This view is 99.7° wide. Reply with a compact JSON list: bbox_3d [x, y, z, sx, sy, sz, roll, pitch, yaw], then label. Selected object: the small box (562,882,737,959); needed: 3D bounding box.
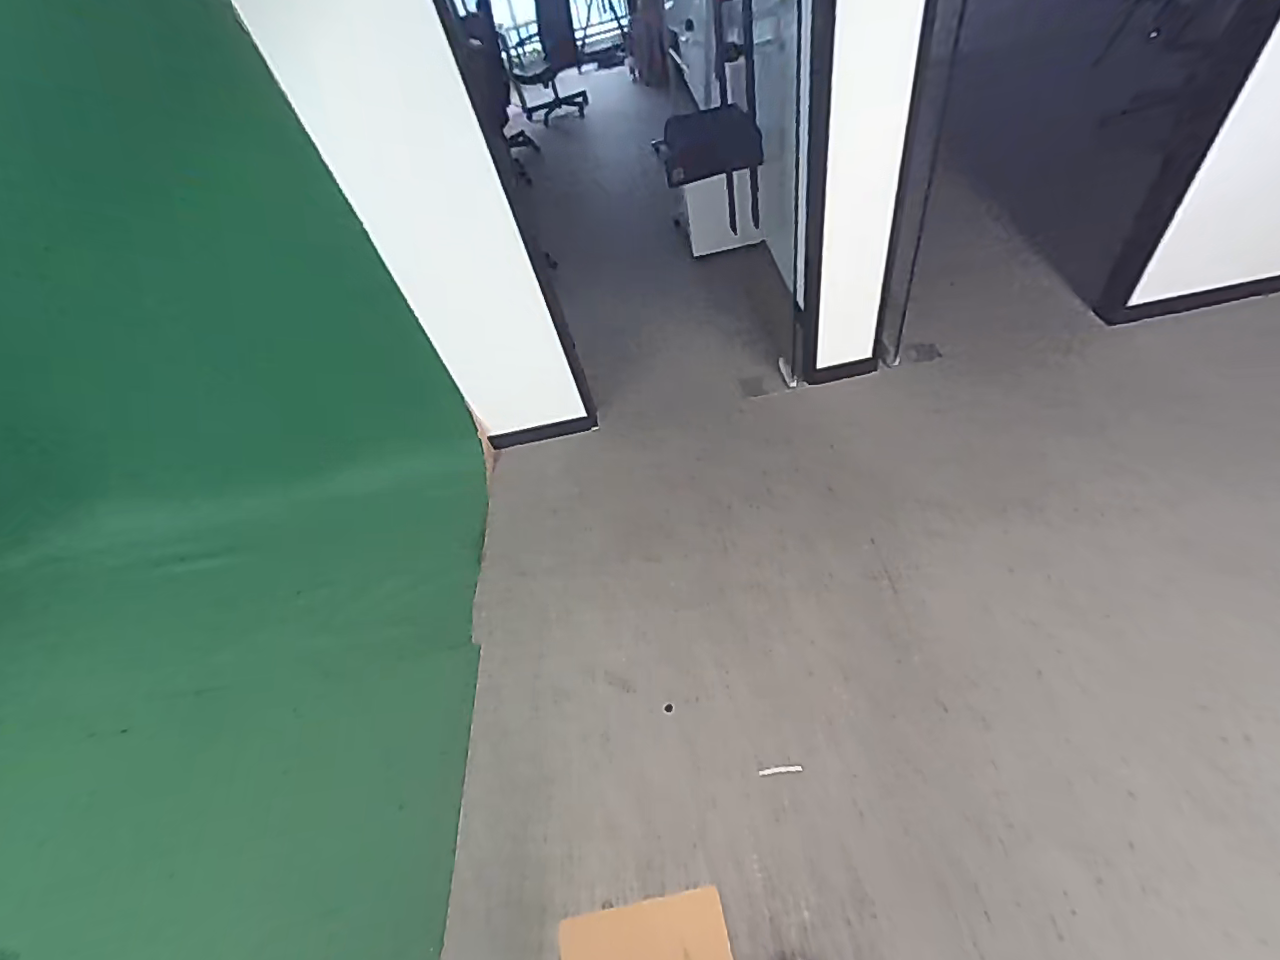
[{"bbox_3d":[0.023,0.561,0.581,0.179,0.176,0.168,-11,46,-2],"label":"small box"}]
